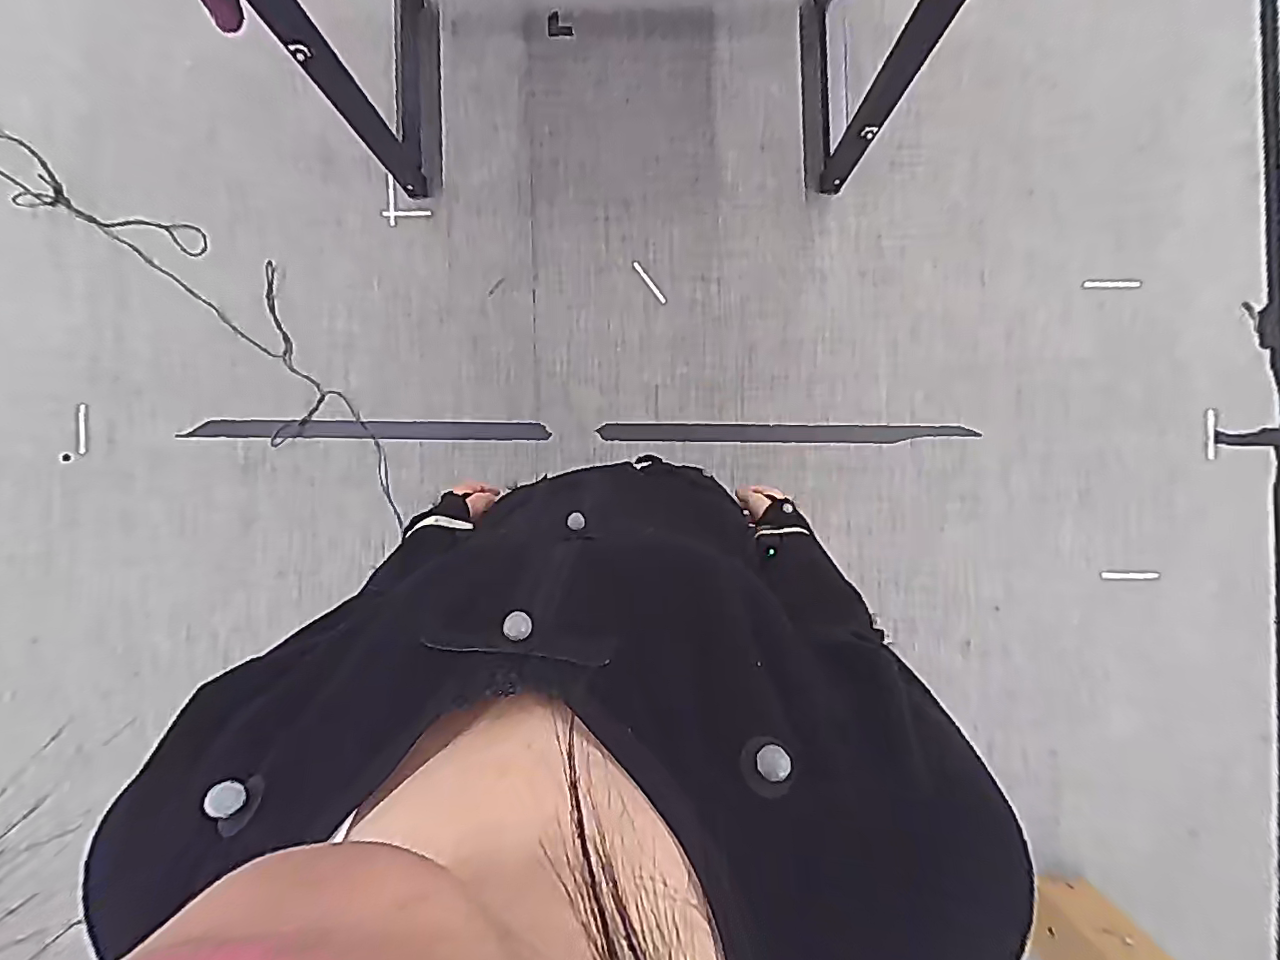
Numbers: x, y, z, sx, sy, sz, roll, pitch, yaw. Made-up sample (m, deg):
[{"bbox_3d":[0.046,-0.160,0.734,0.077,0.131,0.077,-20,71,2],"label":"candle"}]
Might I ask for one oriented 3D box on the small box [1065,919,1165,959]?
[{"bbox_3d":[1.131,1.178,1.257,0.168,0.176,0.179,4,89,-1],"label":"small box"}]
